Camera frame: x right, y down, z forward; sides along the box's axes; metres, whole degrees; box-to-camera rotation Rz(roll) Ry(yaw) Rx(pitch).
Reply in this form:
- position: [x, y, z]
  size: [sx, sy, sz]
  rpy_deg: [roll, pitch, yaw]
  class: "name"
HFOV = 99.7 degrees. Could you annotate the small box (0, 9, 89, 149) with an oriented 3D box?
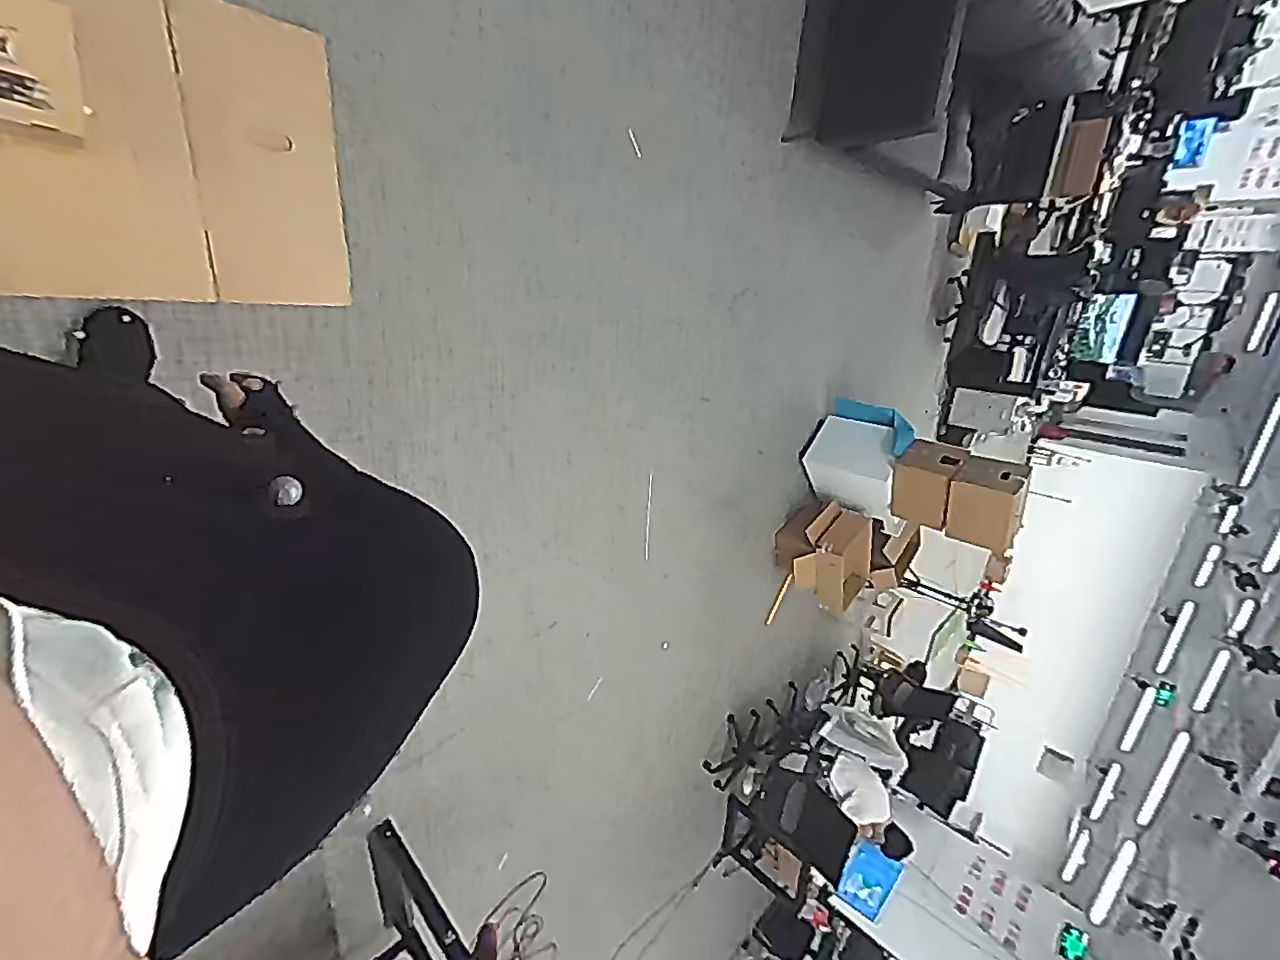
- position: [-1.078, -0.687, 0.924]
  size: [0.179, 0.176, 0.168]
  rpy_deg: [-9, 113, -46]
  class: "small box"
